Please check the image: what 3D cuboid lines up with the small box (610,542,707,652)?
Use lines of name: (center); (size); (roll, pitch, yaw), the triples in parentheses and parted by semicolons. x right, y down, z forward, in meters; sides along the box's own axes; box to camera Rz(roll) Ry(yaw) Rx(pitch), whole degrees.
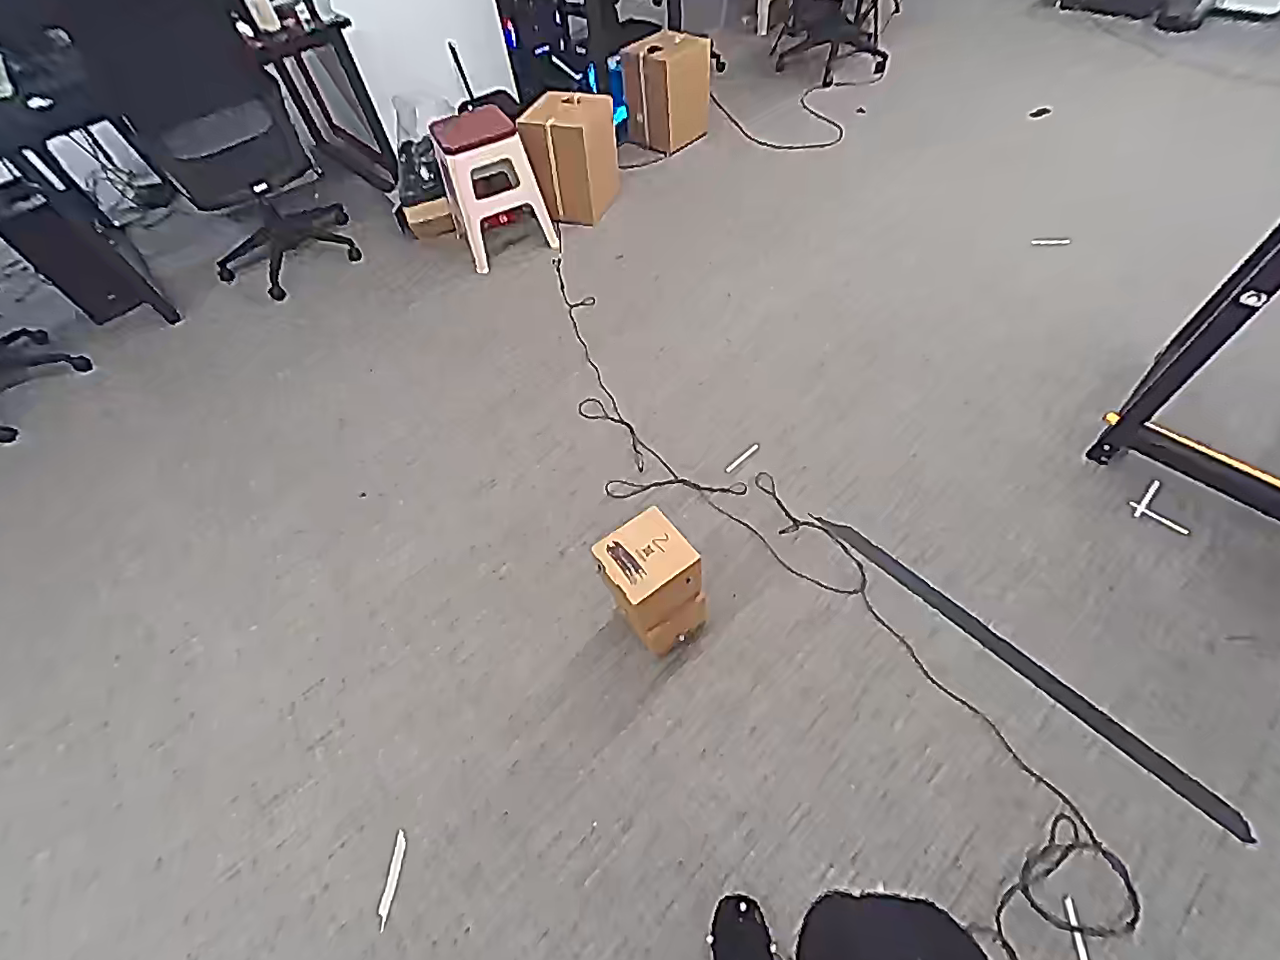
small box: (0.047, 0.290, 1.324); (0.168, 0.176, 0.179); (-33, 59, -15)
